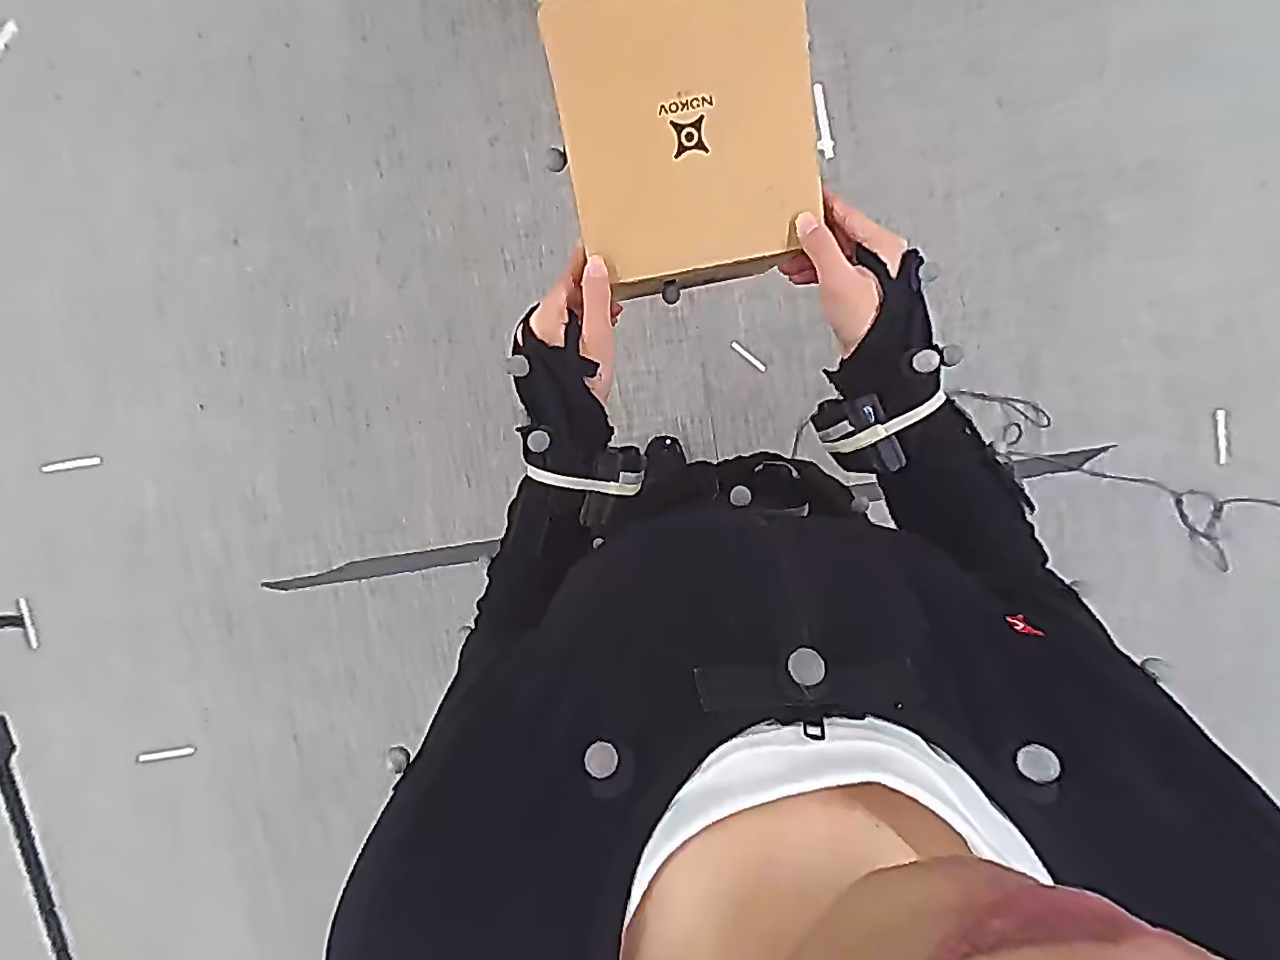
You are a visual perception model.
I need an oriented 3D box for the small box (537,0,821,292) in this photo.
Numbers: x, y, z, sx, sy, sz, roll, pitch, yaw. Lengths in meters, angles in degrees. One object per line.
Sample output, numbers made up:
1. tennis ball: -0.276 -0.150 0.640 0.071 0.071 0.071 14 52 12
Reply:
1. small box: 0.030 -0.253 0.428 0.168 0.176 0.179 -10 103 2
